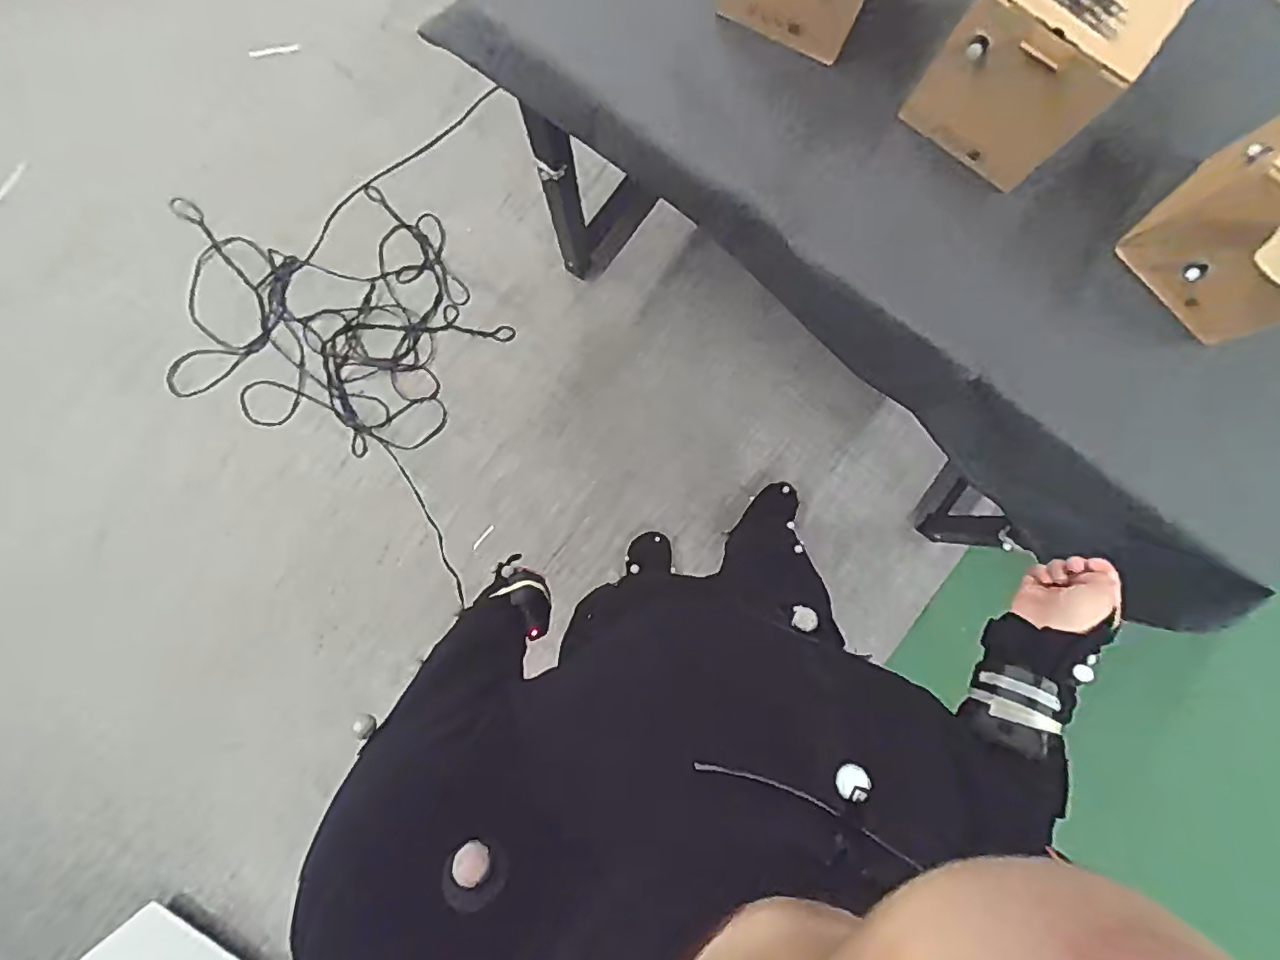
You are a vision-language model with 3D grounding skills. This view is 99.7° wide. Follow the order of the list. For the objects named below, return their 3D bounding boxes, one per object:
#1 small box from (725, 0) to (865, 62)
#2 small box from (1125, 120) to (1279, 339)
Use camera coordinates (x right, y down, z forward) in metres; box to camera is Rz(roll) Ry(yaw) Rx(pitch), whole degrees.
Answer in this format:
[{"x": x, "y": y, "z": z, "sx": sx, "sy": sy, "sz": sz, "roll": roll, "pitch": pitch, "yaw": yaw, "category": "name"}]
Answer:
[{"x": 0.203, "y": -0.626, "z": 0.598, "sx": 0.168, "sy": 0.176, "sz": 0.179, "roll": 26, "pitch": 85, "yaw": -1, "category": "small box"}, {"x": 0.701, "y": -0.286, "z": 0.584, "sx": 0.179, "sy": 0.176, "sz": 0.168, "roll": -42, "pitch": 88, "yaw": -3, "category": "small box"}]
